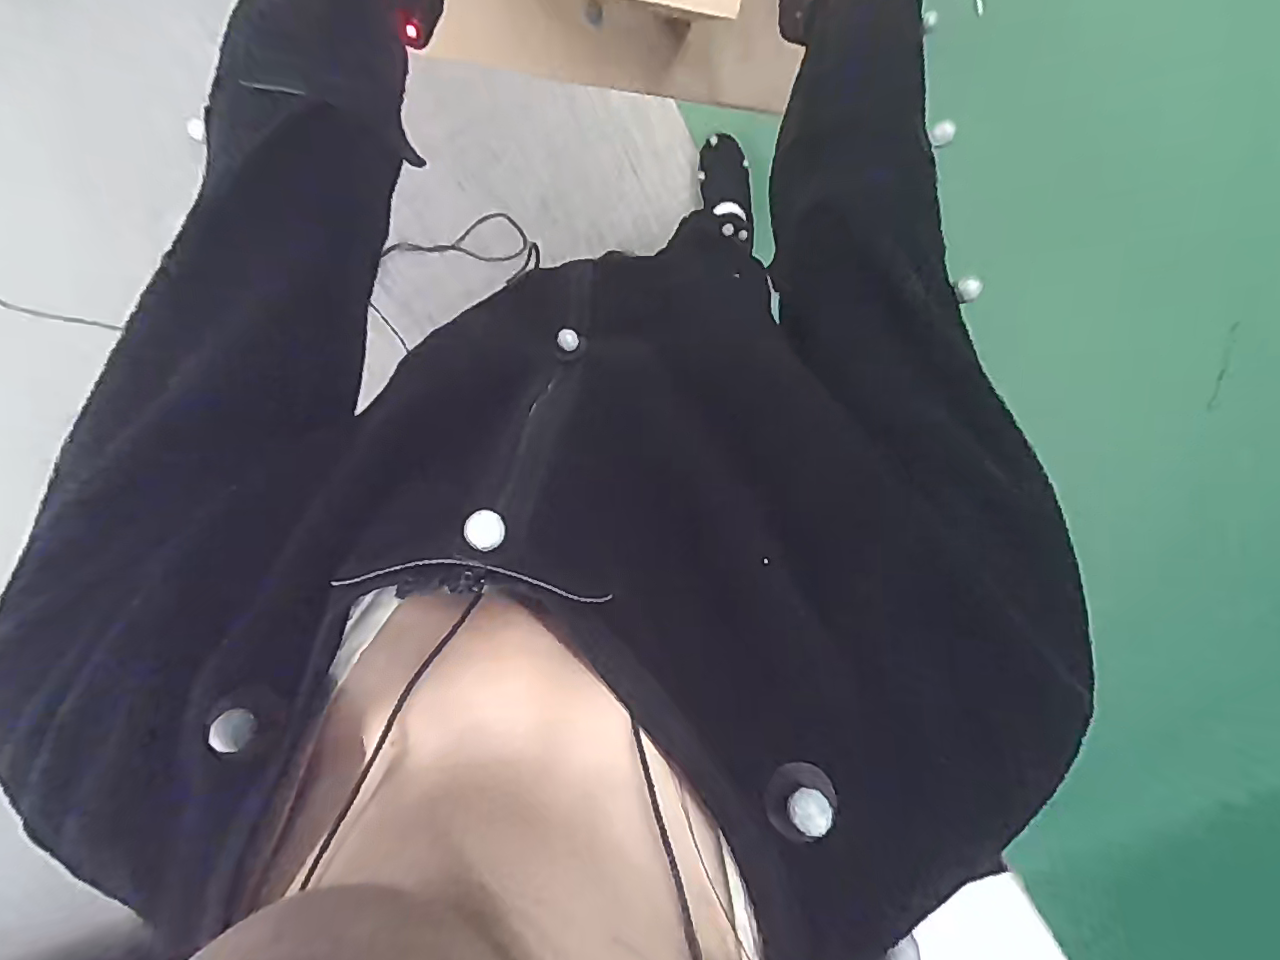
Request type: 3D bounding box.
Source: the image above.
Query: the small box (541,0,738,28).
[{"bbox_3d":[-0.016,-0.415,0.342,0.168,0.176,0.179,3,129,-10],"label":"small box"}]

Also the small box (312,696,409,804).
[{"bbox_3d":[-0.712,0.696,1.399,0.168,0.176,0.179,7,112,-2],"label":"small box"}]

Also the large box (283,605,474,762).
[{"bbox_3d":[-0.752,0.596,1.622,0.408,0.320,0.320,4,111,1],"label":"large box"}]
